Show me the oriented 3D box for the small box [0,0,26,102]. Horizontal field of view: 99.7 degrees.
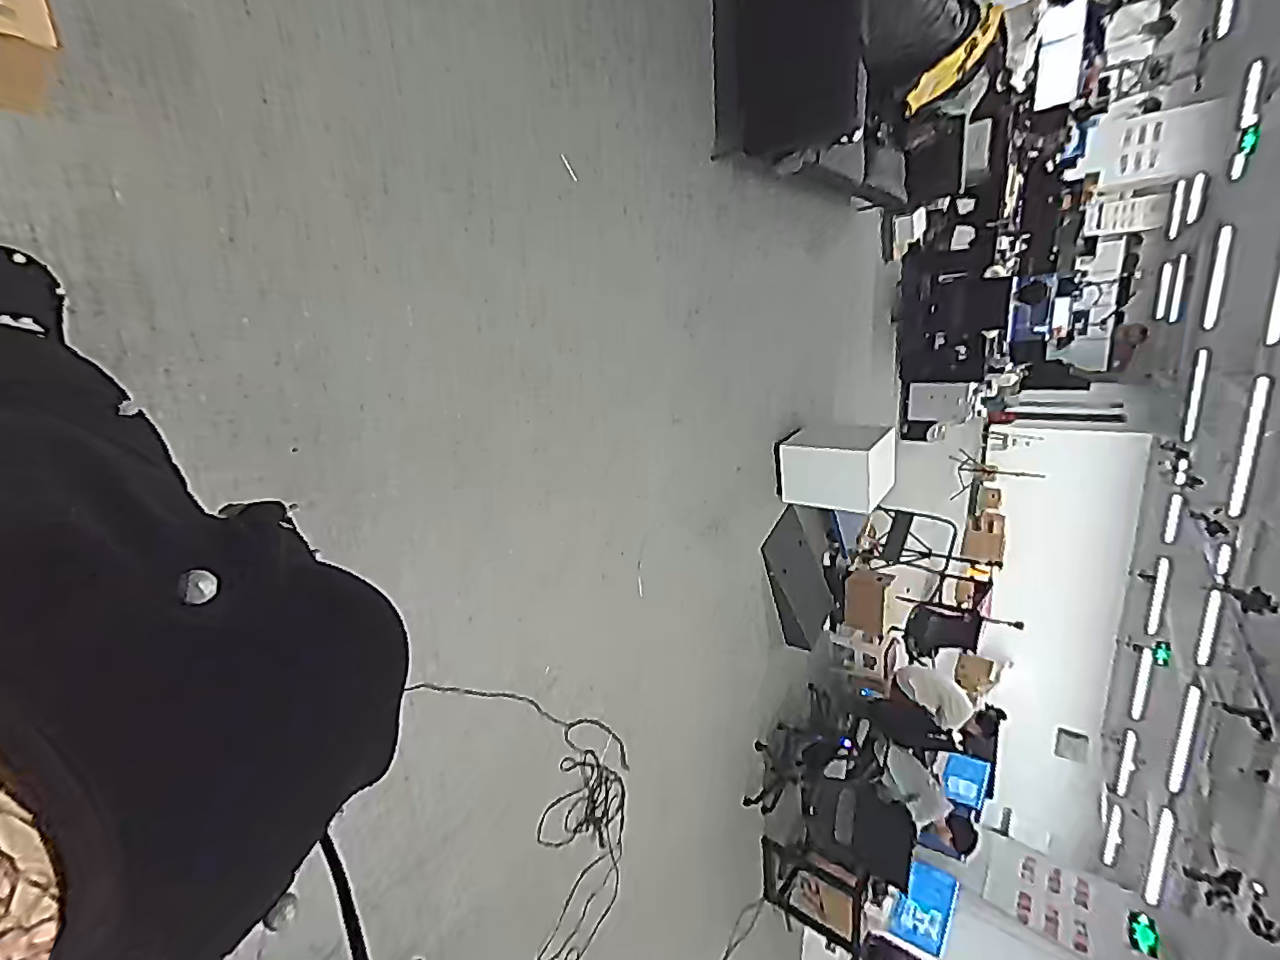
[{"bbox_3d":[-1.106,-0.729,0.836,0.168,0.176,0.179,-20,113,-50],"label":"small box"}]
